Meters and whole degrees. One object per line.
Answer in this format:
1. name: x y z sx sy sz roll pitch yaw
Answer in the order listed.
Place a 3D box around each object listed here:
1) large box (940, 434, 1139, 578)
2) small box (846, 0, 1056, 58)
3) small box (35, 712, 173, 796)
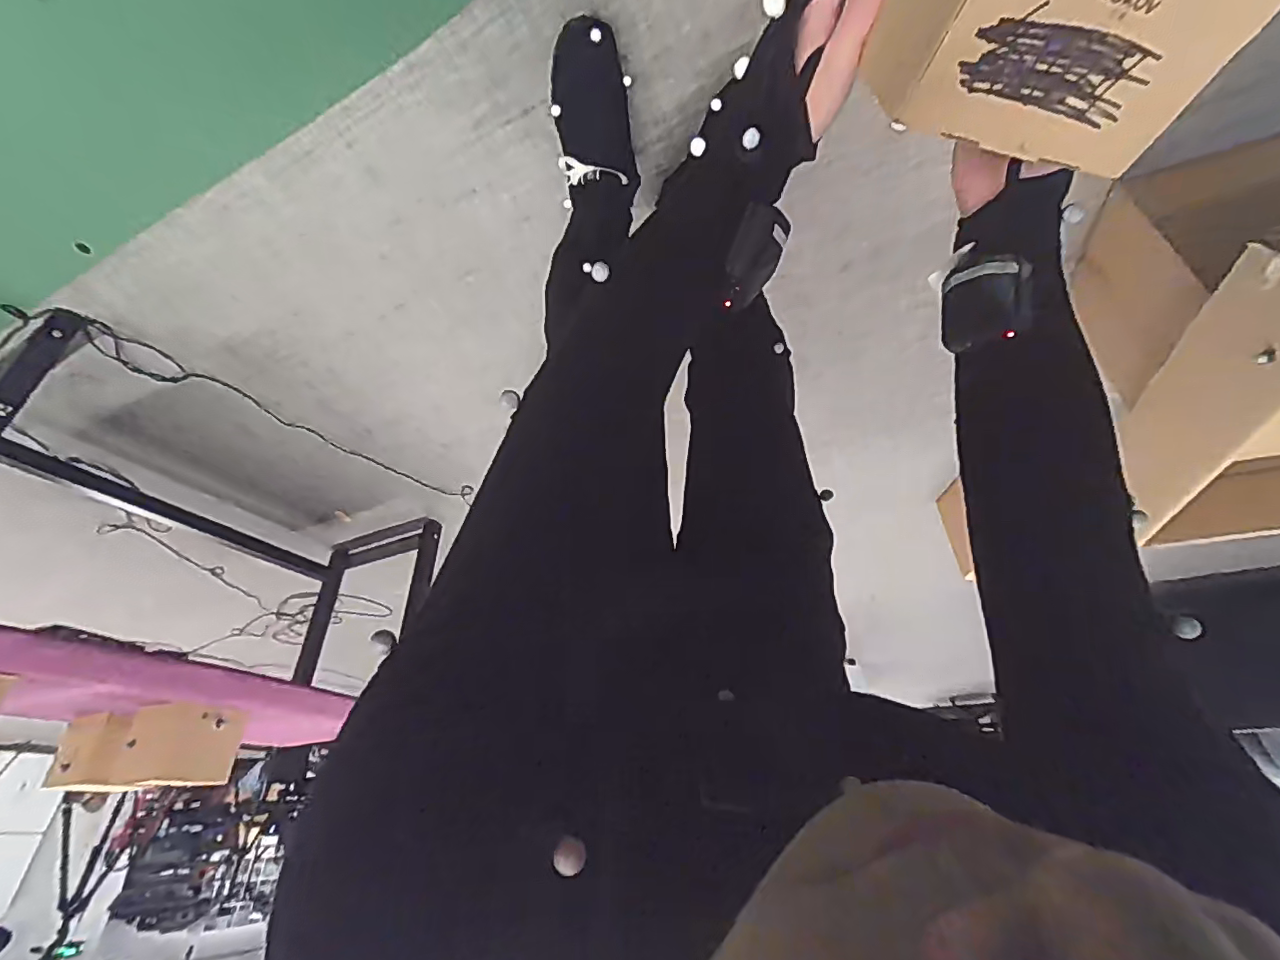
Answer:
1. large box: 1.252 0.096 1.757 0.320 0.320 0.408 -2 146 0
2. small box: 0.240 -0.459 0.388 0.168 0.176 0.179 6 146 -14
3. small box: -1.360 0.704 1.385 0.179 0.176 0.168 -16 144 20
